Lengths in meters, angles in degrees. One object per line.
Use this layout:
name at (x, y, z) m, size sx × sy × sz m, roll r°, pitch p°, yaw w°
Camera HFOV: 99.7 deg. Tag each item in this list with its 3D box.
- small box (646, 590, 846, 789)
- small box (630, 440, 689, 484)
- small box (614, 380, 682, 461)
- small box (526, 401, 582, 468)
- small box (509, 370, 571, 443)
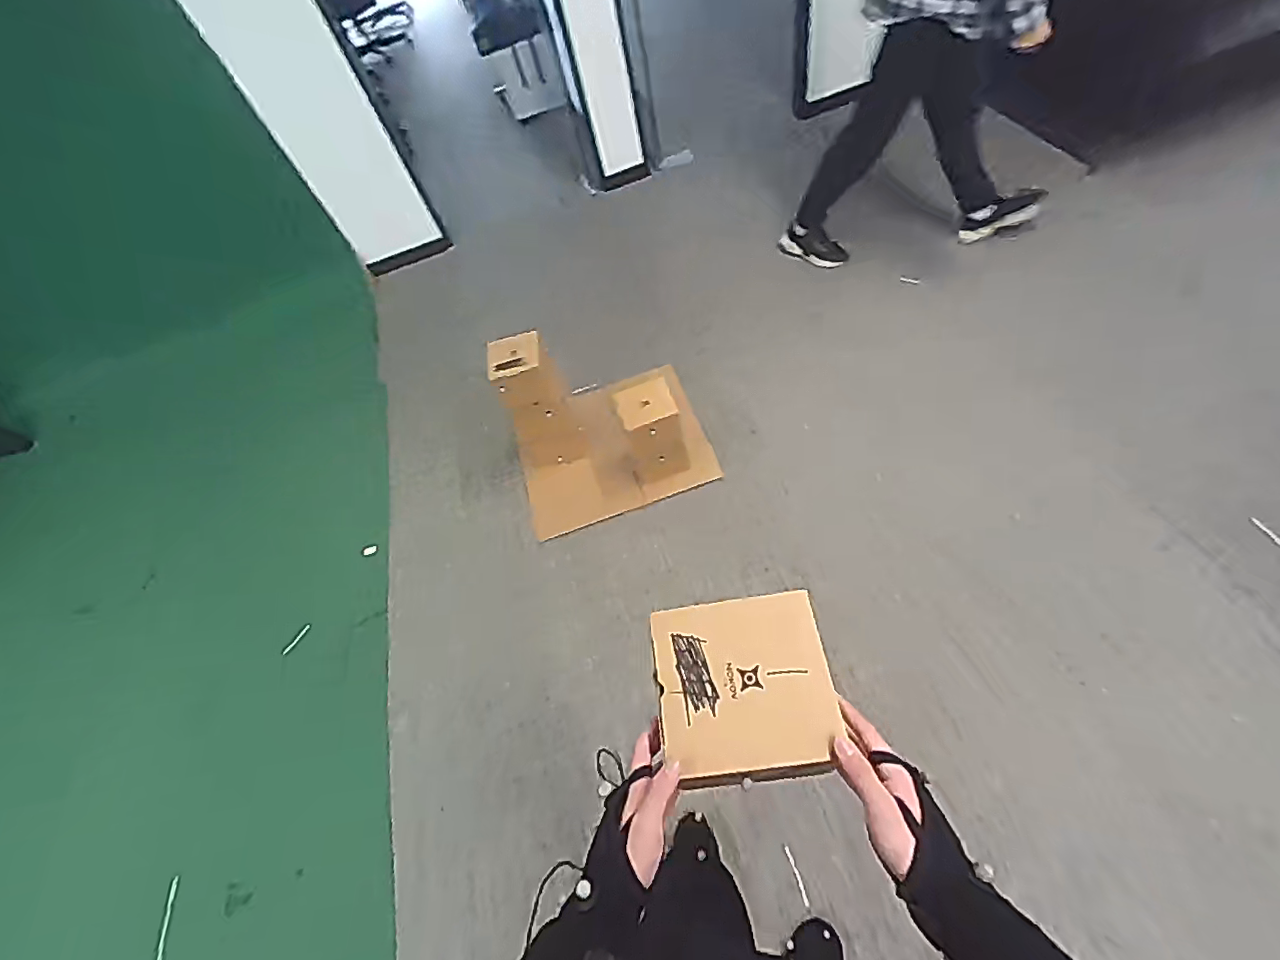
small box at (0.111, 0.242, 0.611) m, size 0.179 × 0.176 × 0.168 m, roll -10°, pitch 56°, yaw 4°
small box at (0.062, -0.110, 1.904) m, size 0.179 × 0.176 × 0.168 m, roll -19°, pitch 55°, yaw 1°
small box at (0.032, -0.192, 1.767) m, size 0.179 × 0.176 × 0.168 m, roll -20°, pitch 56°, yaw 1°
small box at (-0.319, -0.168, 2.029) m, size 0.179 × 0.176 × 0.168 m, roll -13°, pitch 55°, yaw 5°
small box at (-0.346, -0.254, 1.890) m, size 0.179 × 0.176 × 0.168 m, roll -13°, pitch 55°, yaw 4°
